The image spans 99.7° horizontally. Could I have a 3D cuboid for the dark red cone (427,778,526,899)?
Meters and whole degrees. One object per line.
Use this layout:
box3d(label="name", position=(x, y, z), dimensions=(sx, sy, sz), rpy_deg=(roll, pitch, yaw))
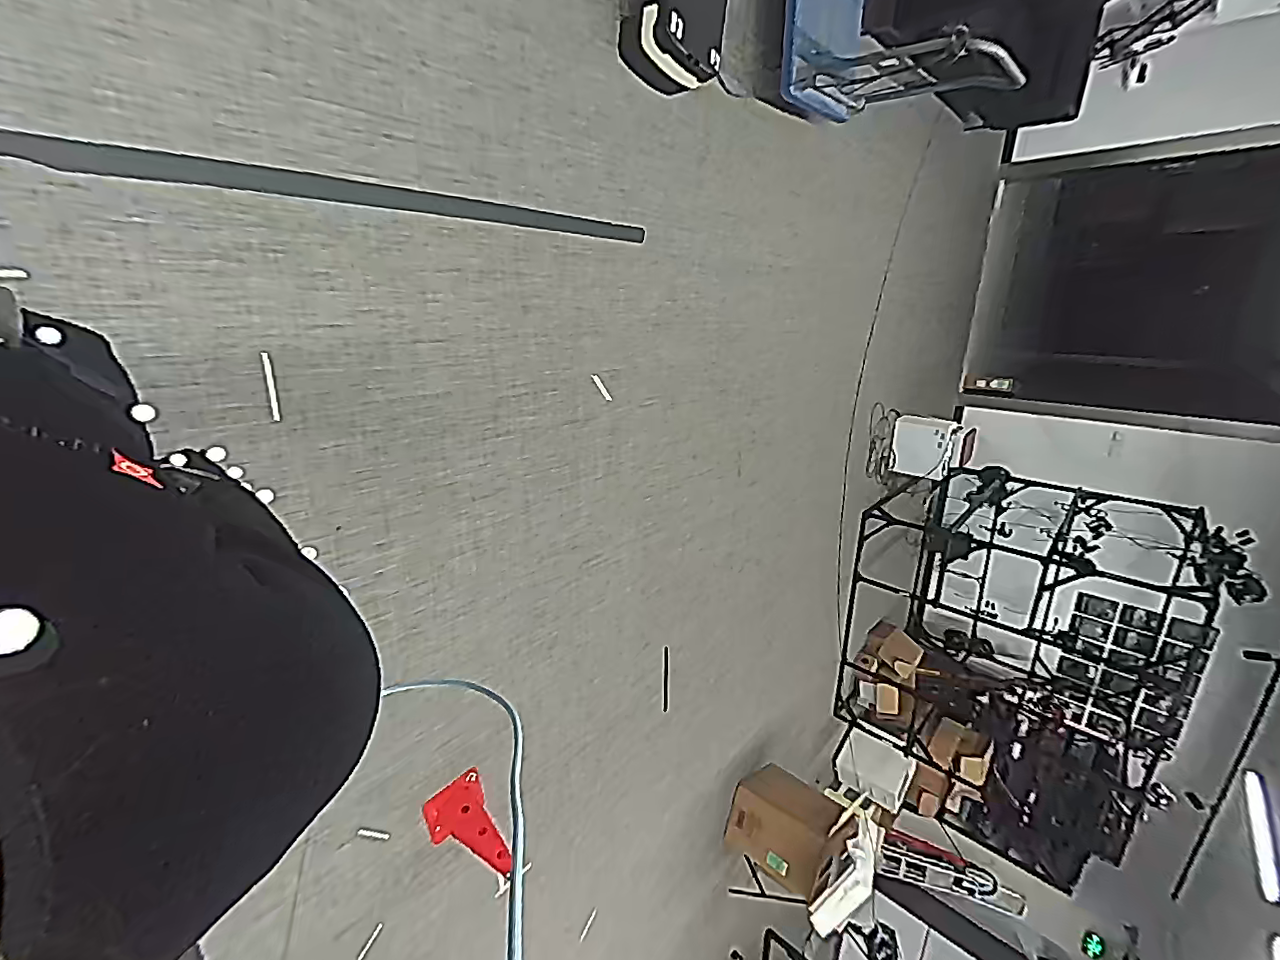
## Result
box3d(label="dark red cone", position=(-0.488, 1.156, 1.700), dimensions=(0.201, 0.394, 0.202), rpy_deg=(-26, 121, -41))
